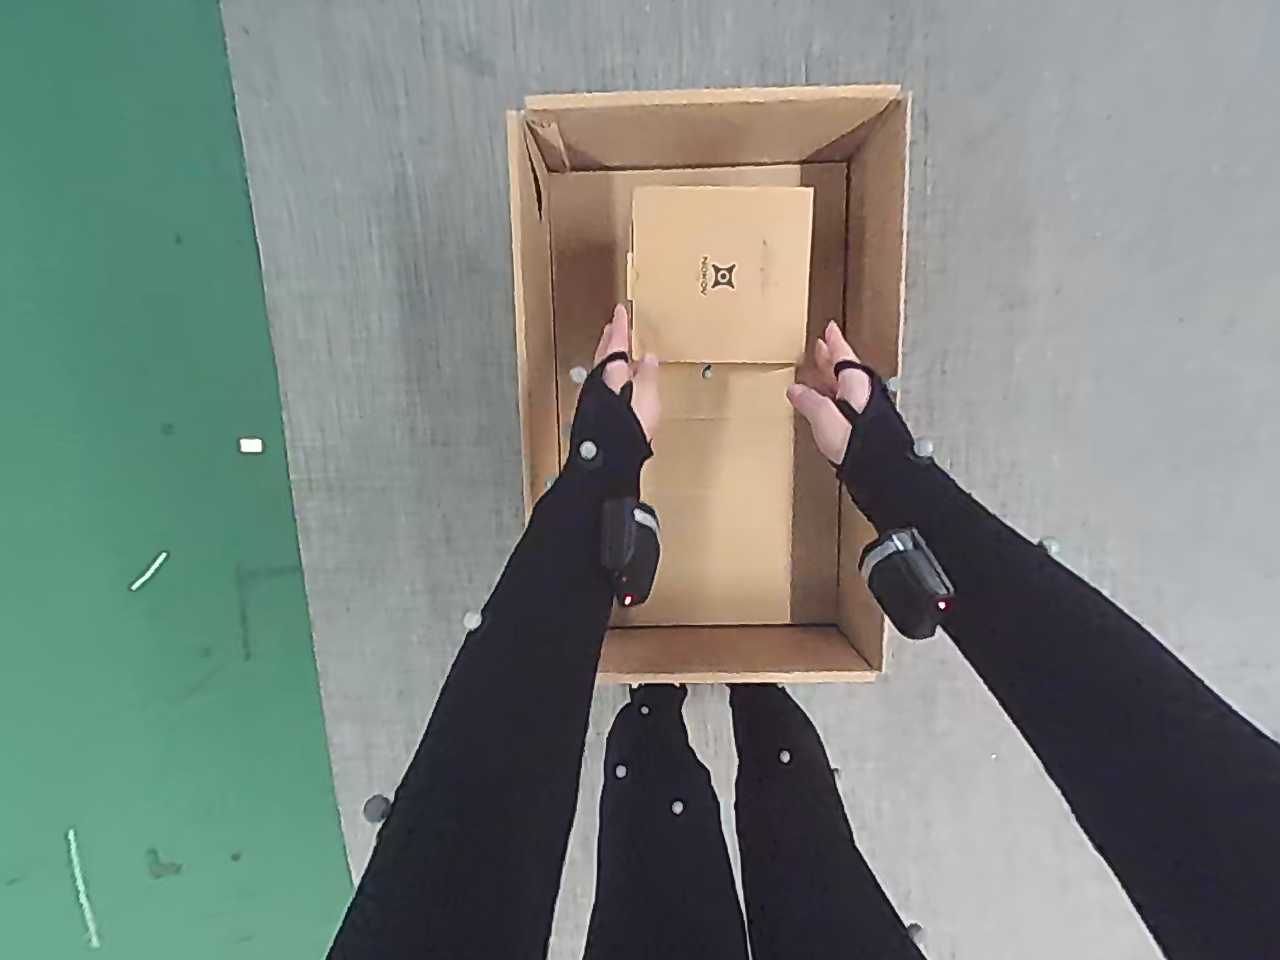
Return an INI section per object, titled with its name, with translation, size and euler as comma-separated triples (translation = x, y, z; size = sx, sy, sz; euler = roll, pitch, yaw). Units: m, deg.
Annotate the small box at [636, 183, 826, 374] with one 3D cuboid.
[small box]
translation = 0.087, -0.208, 0.603
size = 0.179, 0.176, 0.168
euler = 2, 98, -1
